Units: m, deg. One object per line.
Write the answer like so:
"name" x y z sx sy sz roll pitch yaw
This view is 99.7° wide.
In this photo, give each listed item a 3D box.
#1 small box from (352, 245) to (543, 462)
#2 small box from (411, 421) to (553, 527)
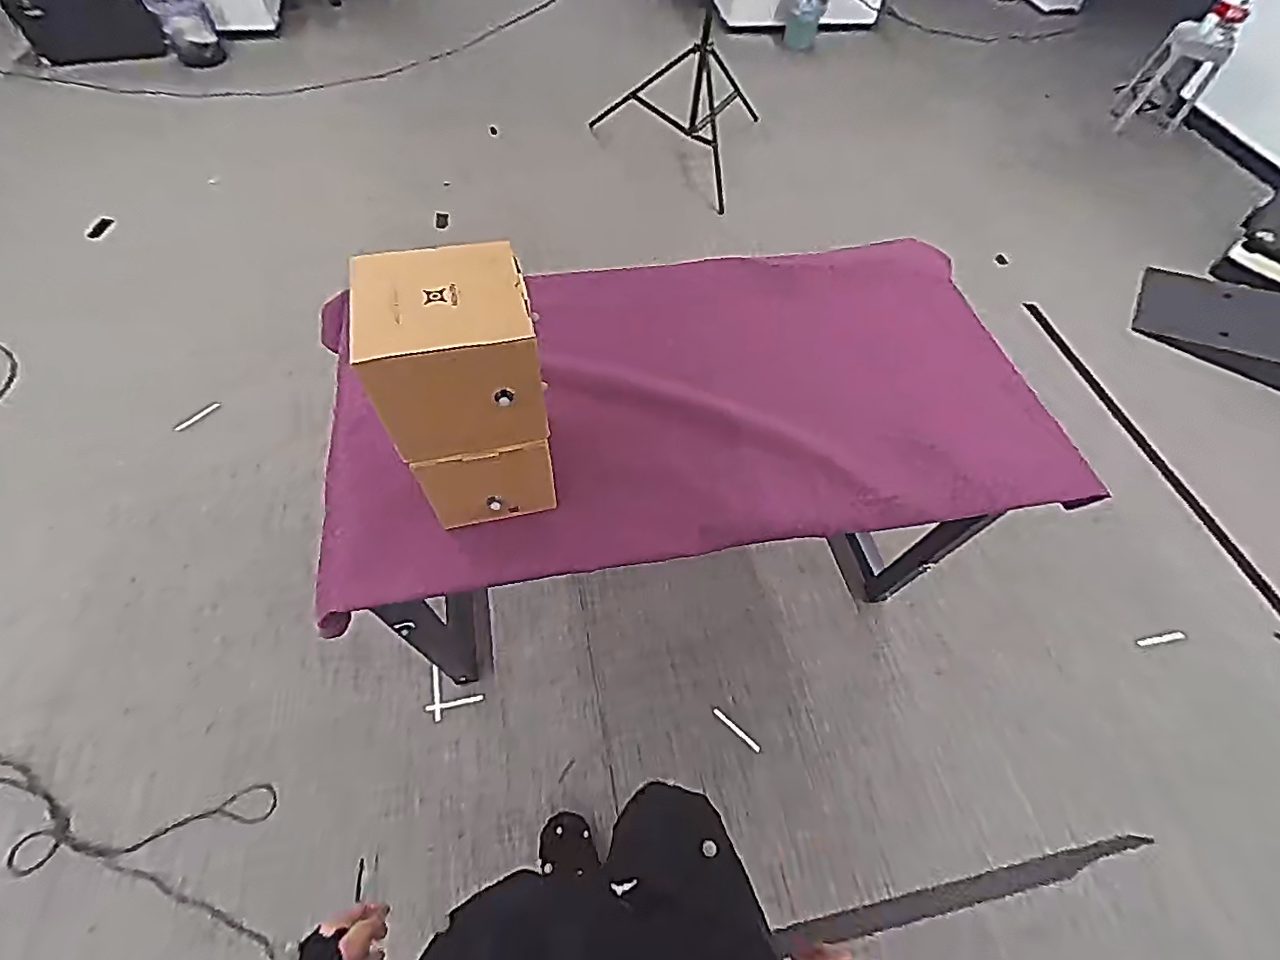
"small box" -0.214 -0.143 0.634 0.179 0.176 0.168 -12 58 -11
"small box" -0.223 -0.058 0.771 0.168 0.176 0.179 -11 60 -10
